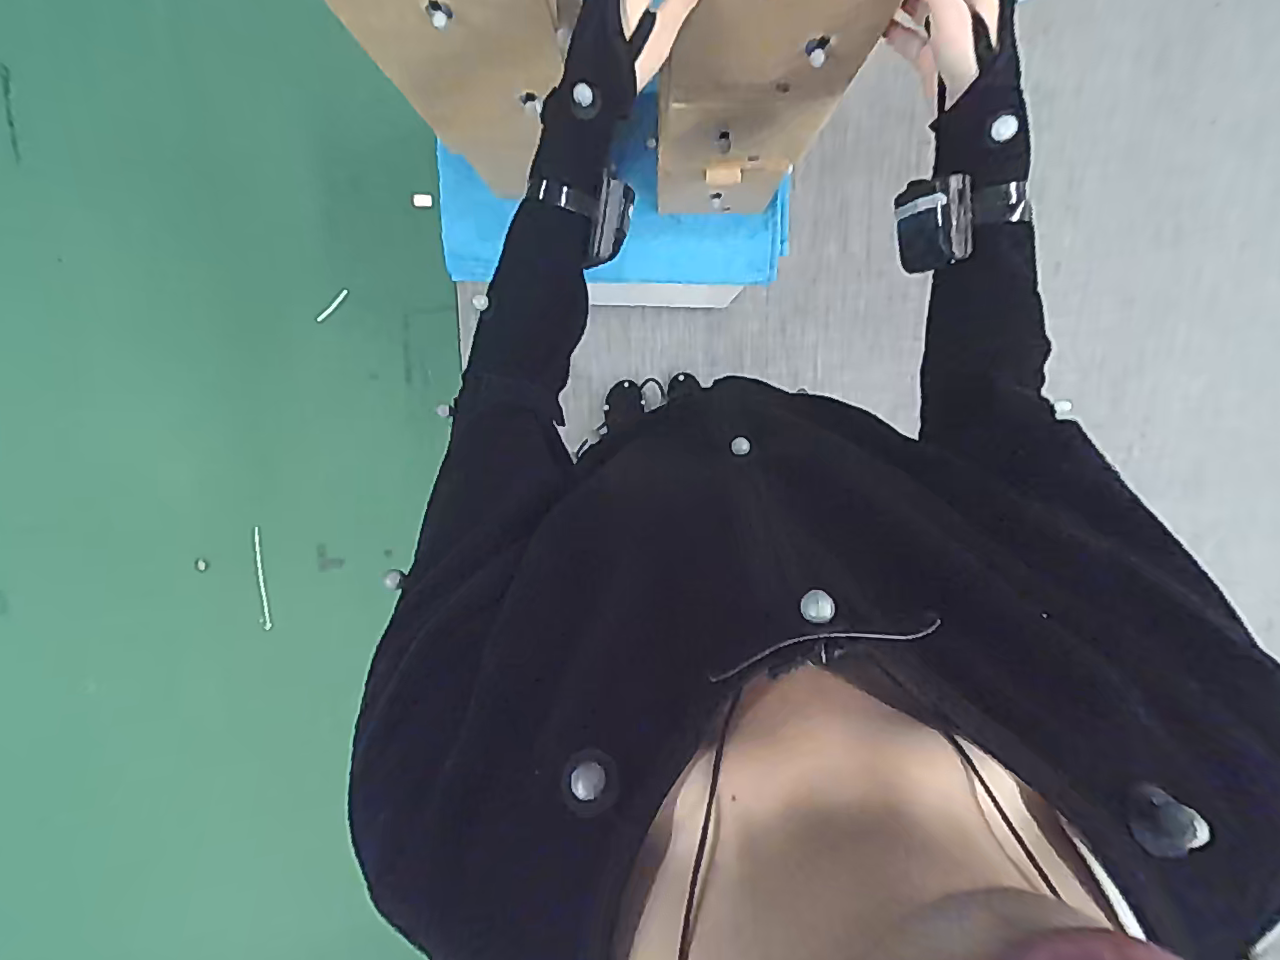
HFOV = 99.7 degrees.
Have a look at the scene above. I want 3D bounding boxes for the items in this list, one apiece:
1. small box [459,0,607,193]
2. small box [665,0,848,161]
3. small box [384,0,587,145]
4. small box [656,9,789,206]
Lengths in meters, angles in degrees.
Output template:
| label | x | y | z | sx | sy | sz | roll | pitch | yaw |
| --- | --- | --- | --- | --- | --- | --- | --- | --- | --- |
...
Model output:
| label | x | y | z | sx | sy | sz | roll | pitch | yaw |
| --- | --- | --- | --- | --- | --- | --- | --- | --- | --- |
| small box | -0.136 | -0.505 | 0.731 | 0.179 | 0.176 | 0.168 | 0 | 99 | 1 |
| small box | 0.111 | -0.458 | 0.571 | 0.168 | 0.176 | 0.179 | -2 | 99 | 2 |
| small box | -0.148 | -0.478 | 0.570 | 0.179 | 0.176 | 0.168 | 0 | 99 | 1 |
| small box | 0.107 | -0.486 | 0.731 | 0.168 | 0.176 | 0.179 | 0 | 100 | 1 |
